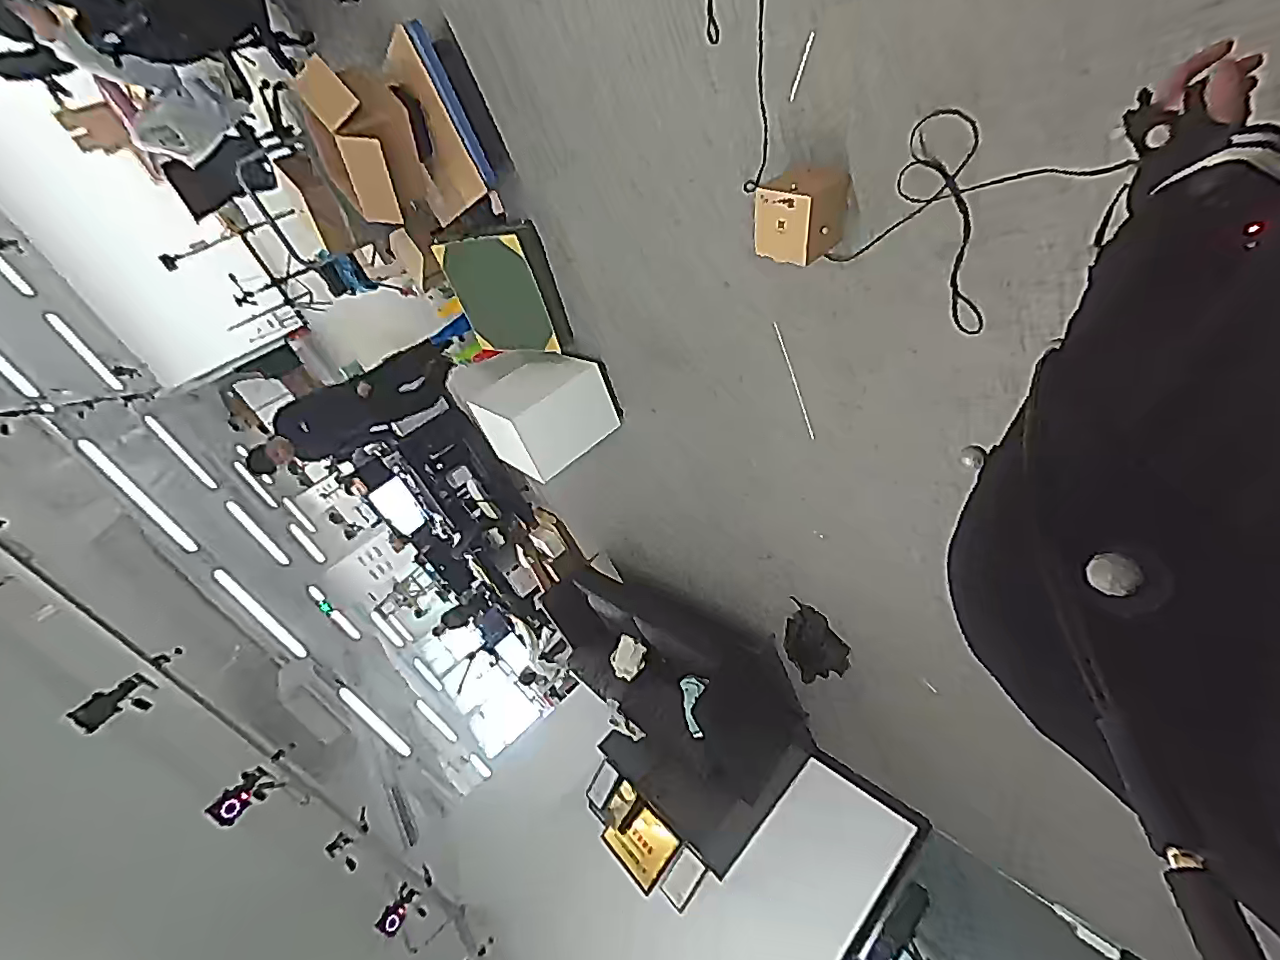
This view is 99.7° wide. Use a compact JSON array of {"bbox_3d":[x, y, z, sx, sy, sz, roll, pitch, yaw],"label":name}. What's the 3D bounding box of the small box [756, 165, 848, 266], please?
[{"bbox_3d":[0.423,-0.694,1.415,0.168,0.176,0.179,34,151,35],"label":"small box"}]
